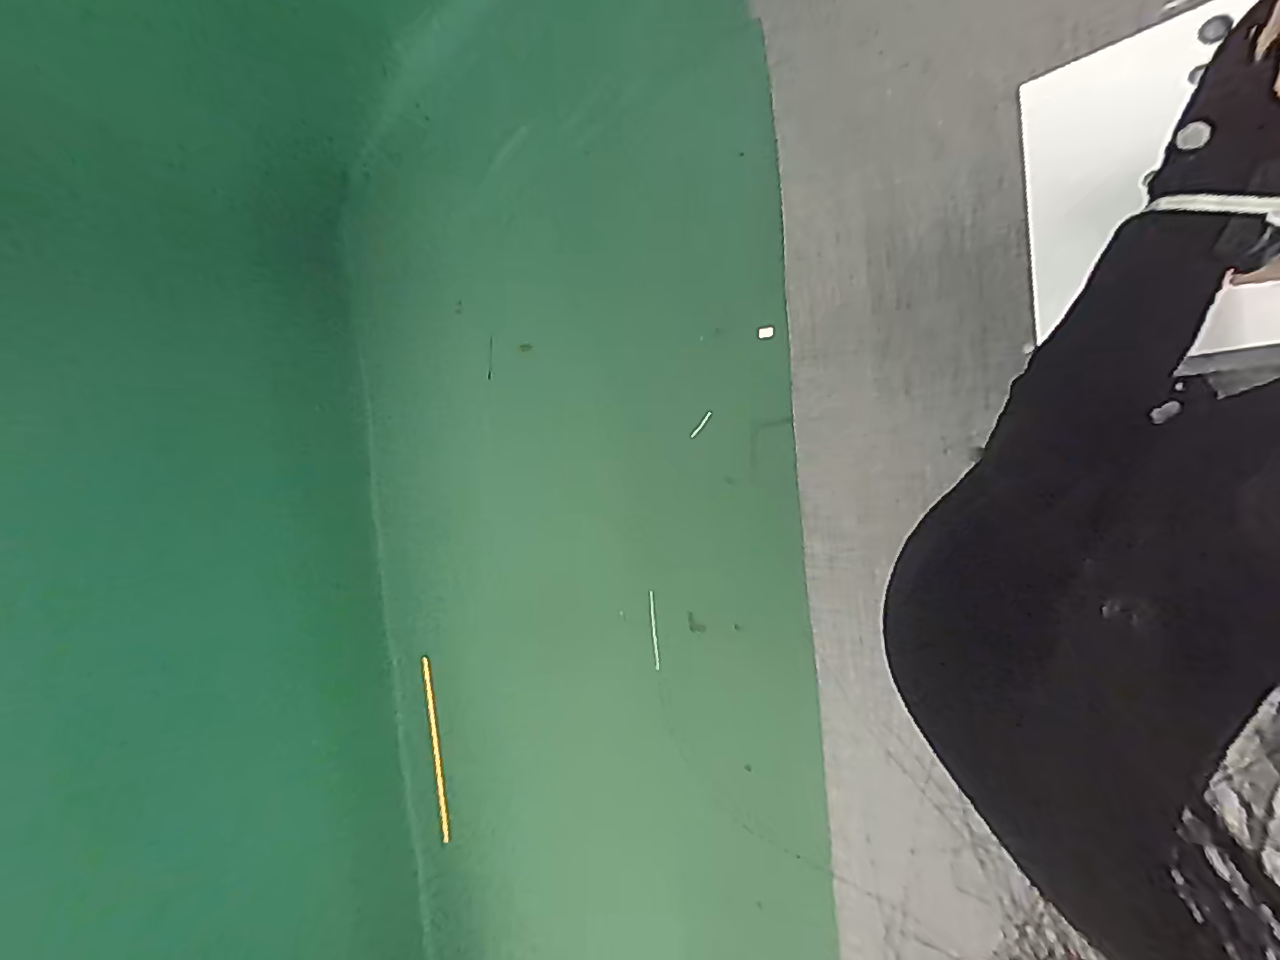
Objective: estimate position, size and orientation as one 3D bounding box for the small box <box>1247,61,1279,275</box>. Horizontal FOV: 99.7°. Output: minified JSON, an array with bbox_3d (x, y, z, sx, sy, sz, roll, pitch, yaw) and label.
[{"bbox_3d":[0.678,-0.304,0.483,0.168,0.176,0.179,1,95,43],"label":"small box"}]
